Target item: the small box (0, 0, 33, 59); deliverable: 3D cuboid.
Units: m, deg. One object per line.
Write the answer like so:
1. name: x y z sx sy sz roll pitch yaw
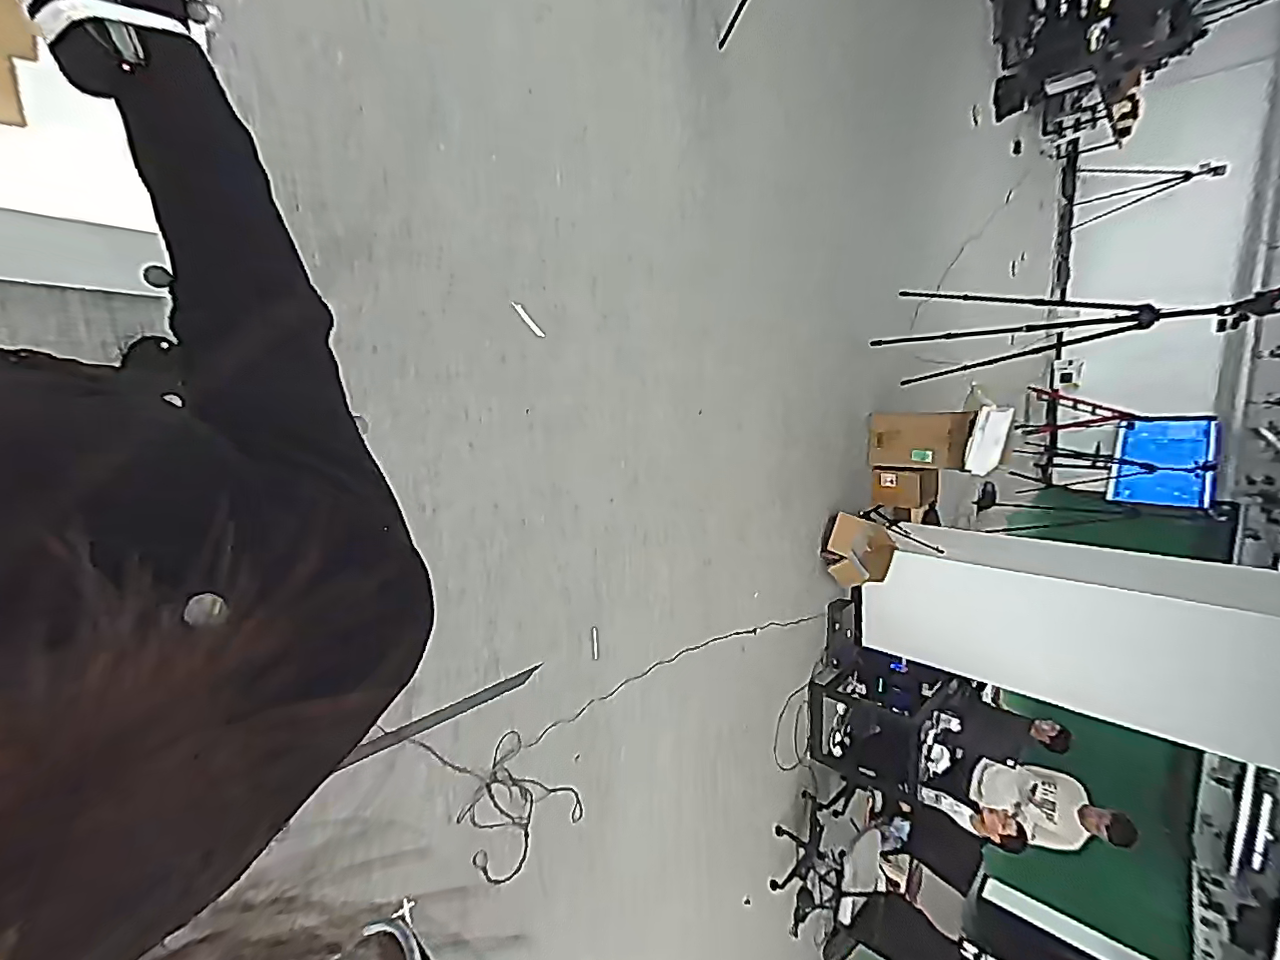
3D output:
1. small box: -0.664 -0.510 0.460 0.168 0.176 0.179 -18 106 -44

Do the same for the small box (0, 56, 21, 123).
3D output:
1. small box: -0.797 -0.501 0.557 0.179 0.176 0.168 -19 108 -44
